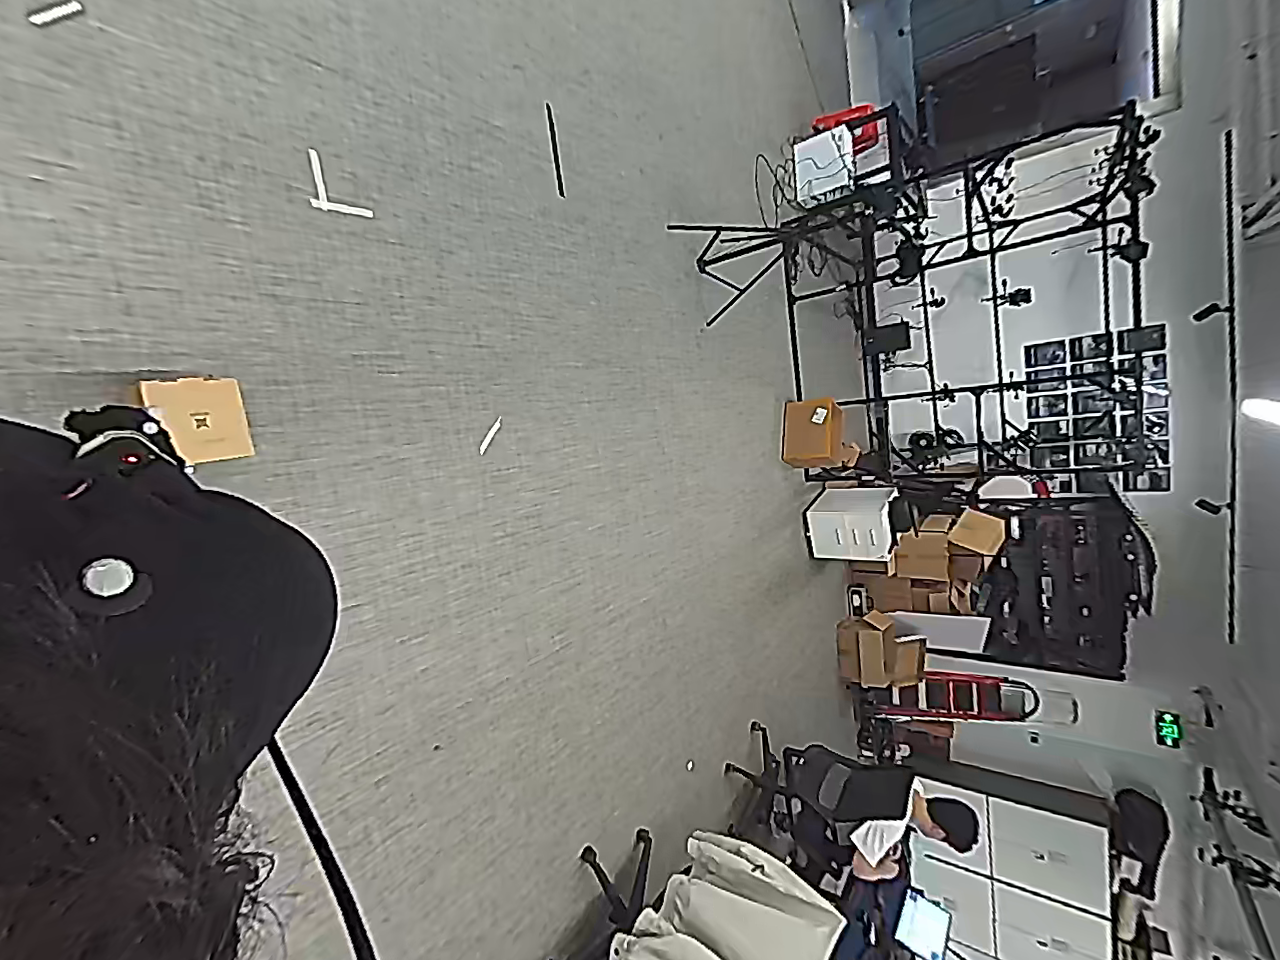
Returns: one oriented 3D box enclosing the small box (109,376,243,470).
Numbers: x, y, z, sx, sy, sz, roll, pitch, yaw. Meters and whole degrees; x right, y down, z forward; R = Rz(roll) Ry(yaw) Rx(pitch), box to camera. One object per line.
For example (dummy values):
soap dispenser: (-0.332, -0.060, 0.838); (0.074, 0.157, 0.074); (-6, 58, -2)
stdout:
small box: (-0.996, -0.122, 1.160); (0.168, 0.176, 0.179); (-18, 104, -51)
